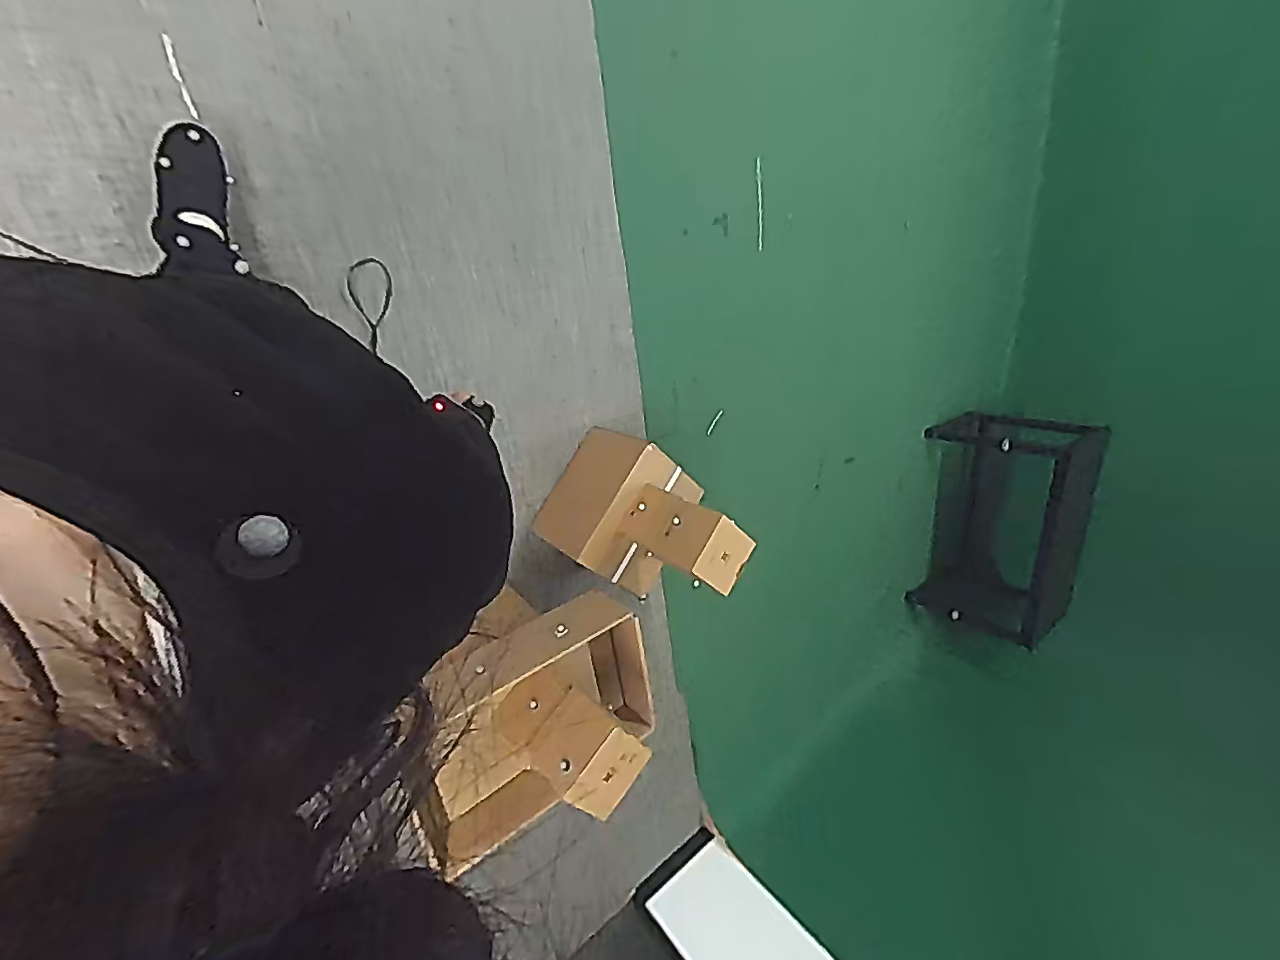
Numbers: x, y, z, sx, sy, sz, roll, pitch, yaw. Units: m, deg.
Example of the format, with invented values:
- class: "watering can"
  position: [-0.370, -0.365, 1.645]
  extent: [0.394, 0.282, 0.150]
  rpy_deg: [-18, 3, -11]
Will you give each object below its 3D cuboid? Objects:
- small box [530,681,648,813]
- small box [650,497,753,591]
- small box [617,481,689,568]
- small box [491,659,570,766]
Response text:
- class: "small box"
  position: [-0.121, 0.591, 1.208]
  extent: [0.179, 0.176, 0.168]
  rpy_deg: [-50, 129, -17]
- class: "small box"
  position: [0.161, 0.164, 1.440]
  extent: [0.179, 0.176, 0.168]
  rpy_deg: [40, 77, -39]
- class: "small box"
  position: [0.068, 0.124, 1.568]
  extent: [0.179, 0.176, 0.168]
  rpy_deg: [43, 76, -38]
- class: "small box"
  position: [-0.233, 0.574, 1.330]
  extent: [0.179, 0.176, 0.168]
  rpy_deg: [-51, 127, -16]
